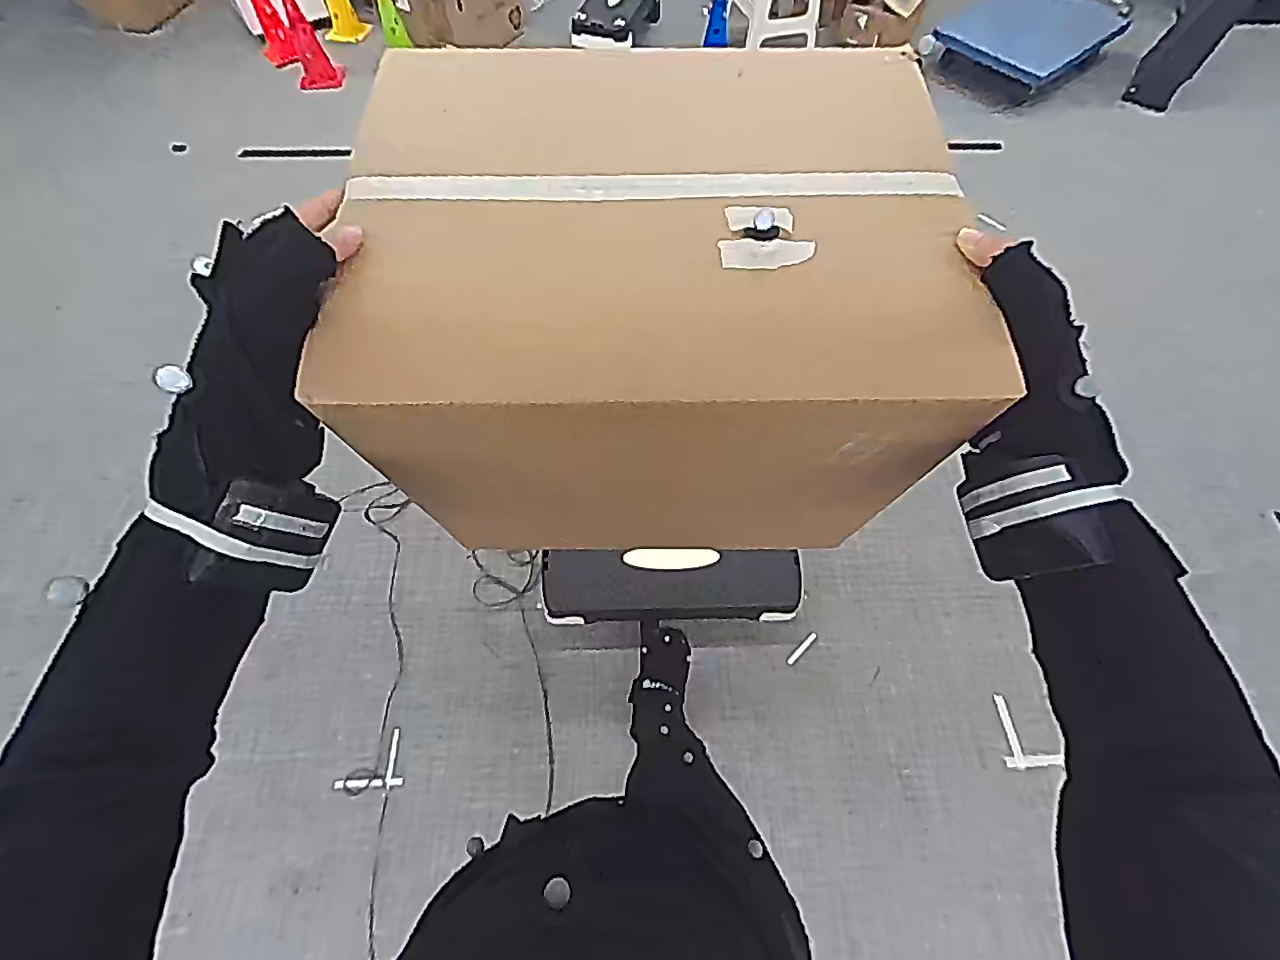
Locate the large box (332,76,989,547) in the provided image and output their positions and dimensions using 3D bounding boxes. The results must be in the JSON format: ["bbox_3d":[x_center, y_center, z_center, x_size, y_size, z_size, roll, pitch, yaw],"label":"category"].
[{"bbox_3d":[0.009,-0.129,0.516,0.408,0.320,0.320,0,67,-1],"label":"large box"}]
